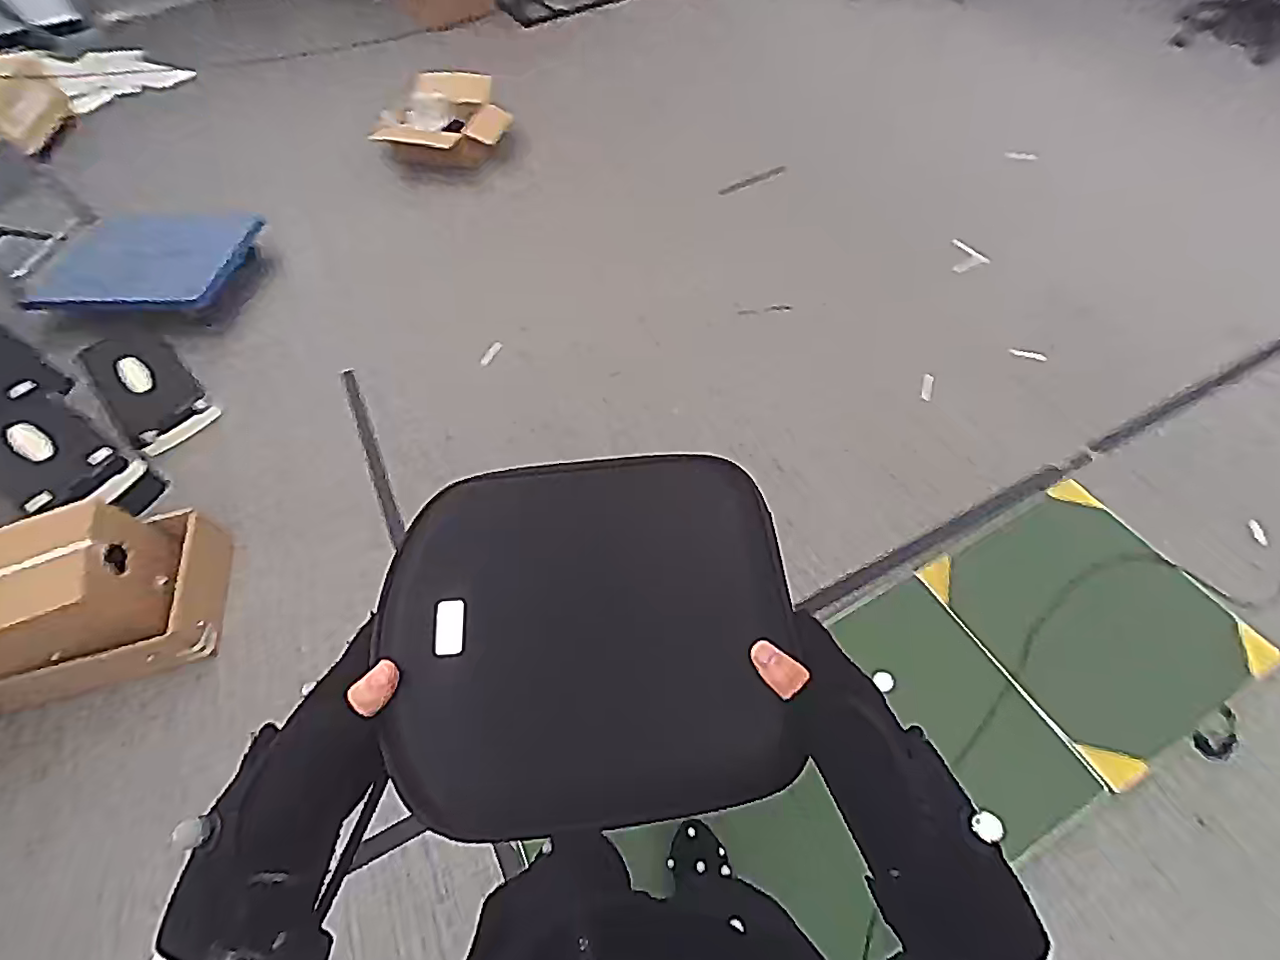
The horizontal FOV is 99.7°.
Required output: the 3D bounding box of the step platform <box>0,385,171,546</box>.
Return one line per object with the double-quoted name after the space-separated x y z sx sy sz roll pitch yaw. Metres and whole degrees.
-1.943 -0.065 1.826 0.684 0.204 0.286 27 64 19 "step platform"
